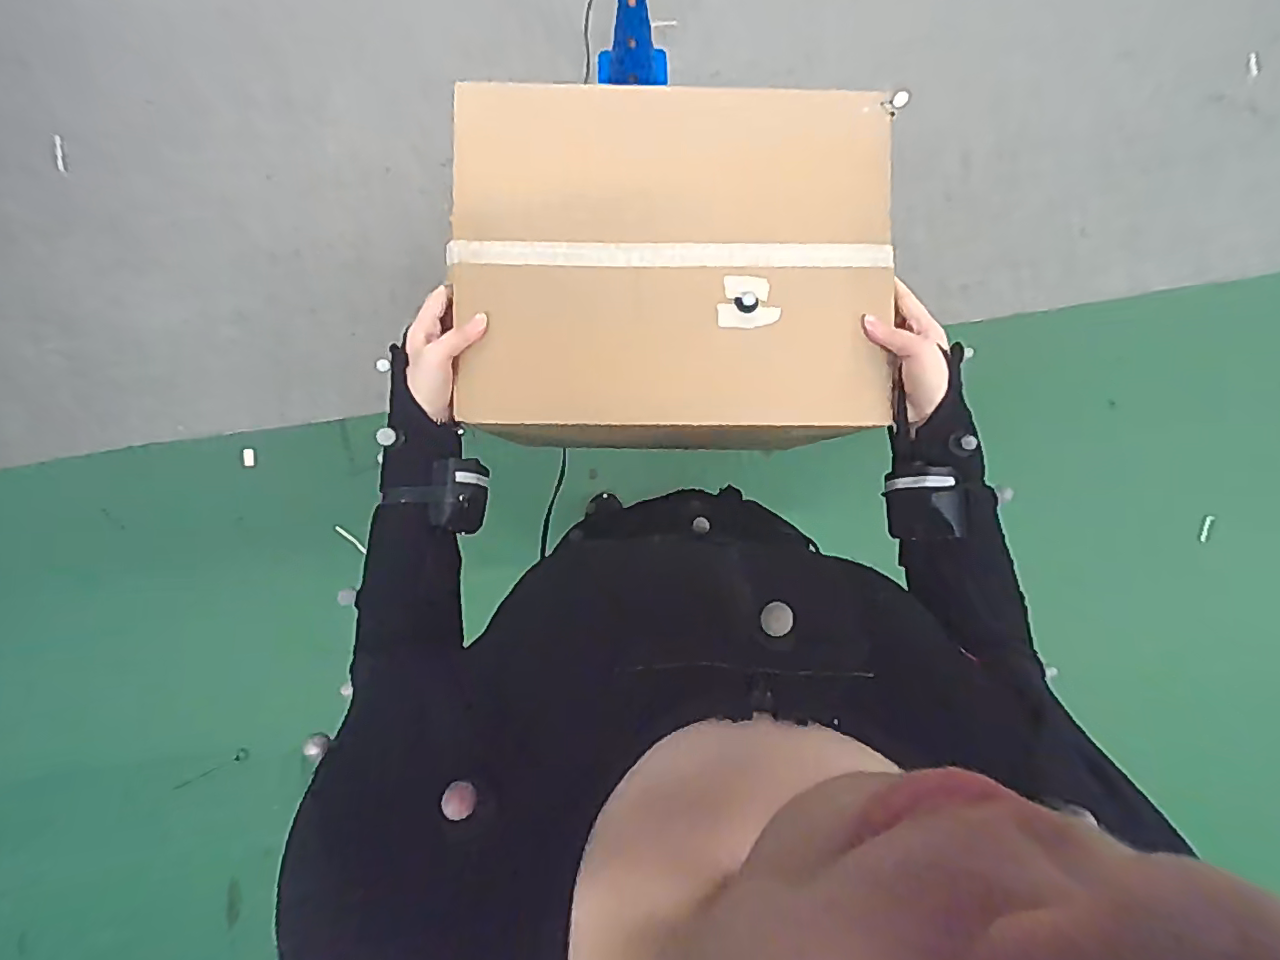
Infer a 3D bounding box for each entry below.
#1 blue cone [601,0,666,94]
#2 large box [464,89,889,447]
[{"bbox_3d":[-0.016,-1.139,1.399,0.193,0.380,0.192,-1,88,0],"label":"blue cone"},{"bbox_3d":[0.028,-0.208,0.653,0.408,0.320,0.320,0,90,-3],"label":"large box"}]
